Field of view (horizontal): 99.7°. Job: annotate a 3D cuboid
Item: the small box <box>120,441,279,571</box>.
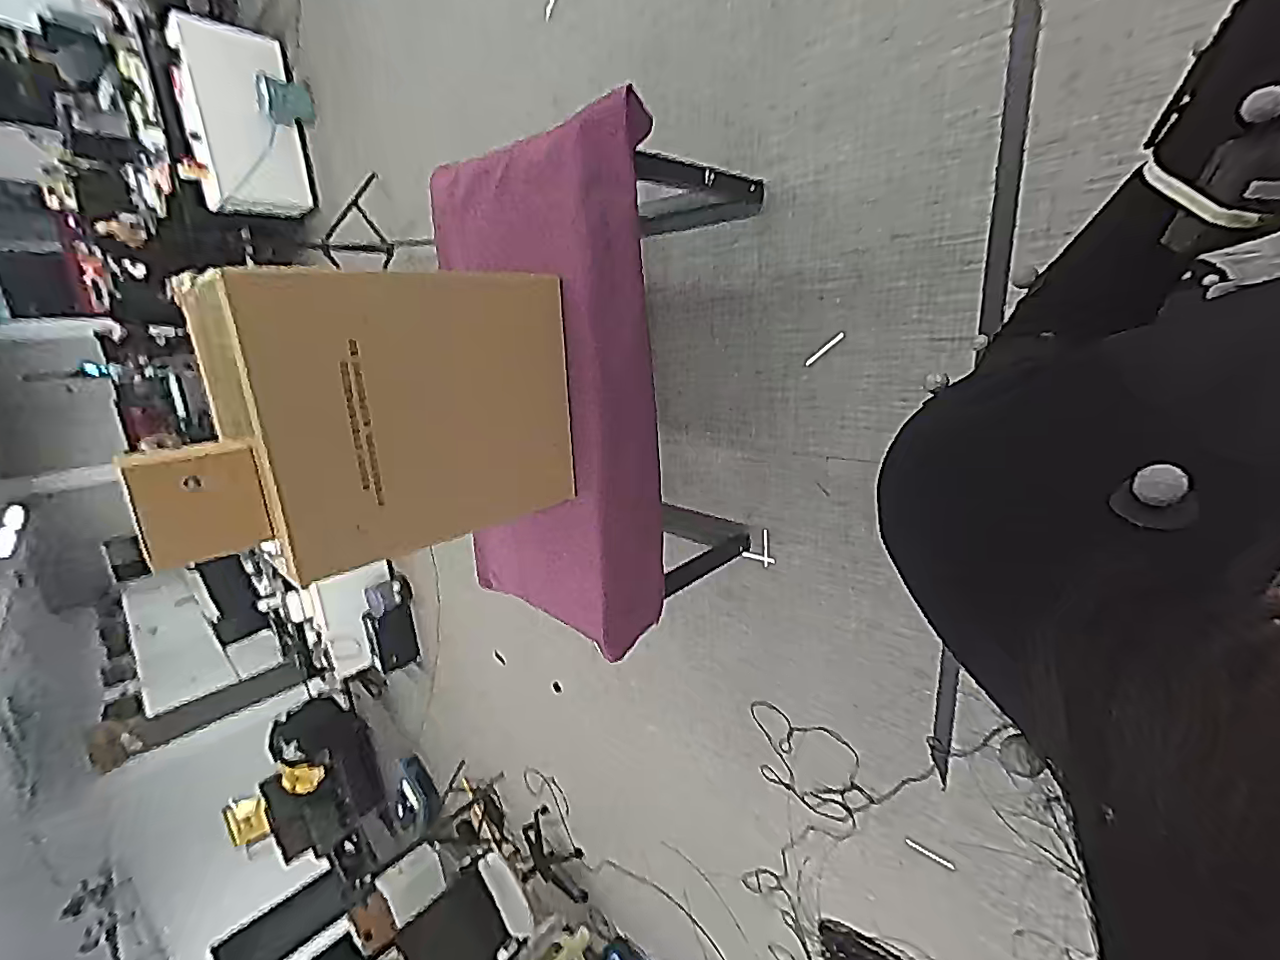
[{"bbox_3d":[-0.760,0.032,0.939,0.168,0.176,0.179,9,110,44],"label":"small box"}]
